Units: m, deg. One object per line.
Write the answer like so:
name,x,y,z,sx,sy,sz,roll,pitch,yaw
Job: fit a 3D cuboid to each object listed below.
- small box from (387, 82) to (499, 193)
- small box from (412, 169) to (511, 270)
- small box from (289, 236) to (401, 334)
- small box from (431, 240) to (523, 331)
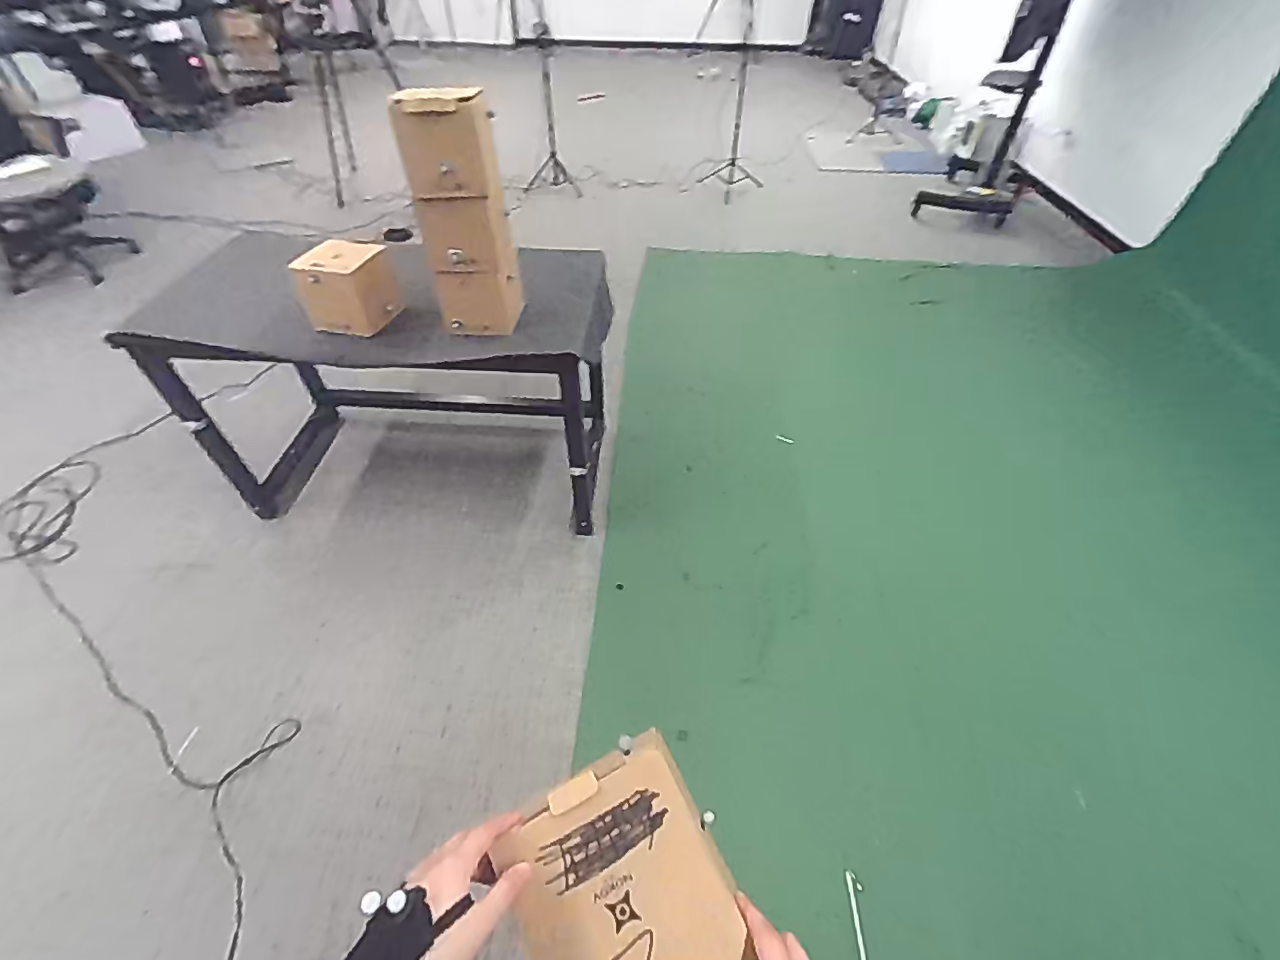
small box,-0.400,-0.717,1.135,0.168,0.176,0.179,-3,45,-2
small box,-0.403,-0.606,1.257,0.168,0.176,0.179,-1,46,0
small box,-0.733,-0.495,1.371,0.168,0.176,0.179,9,45,8
small box,-0.403,-0.494,1.374,0.168,0.176,0.179,3,44,2
